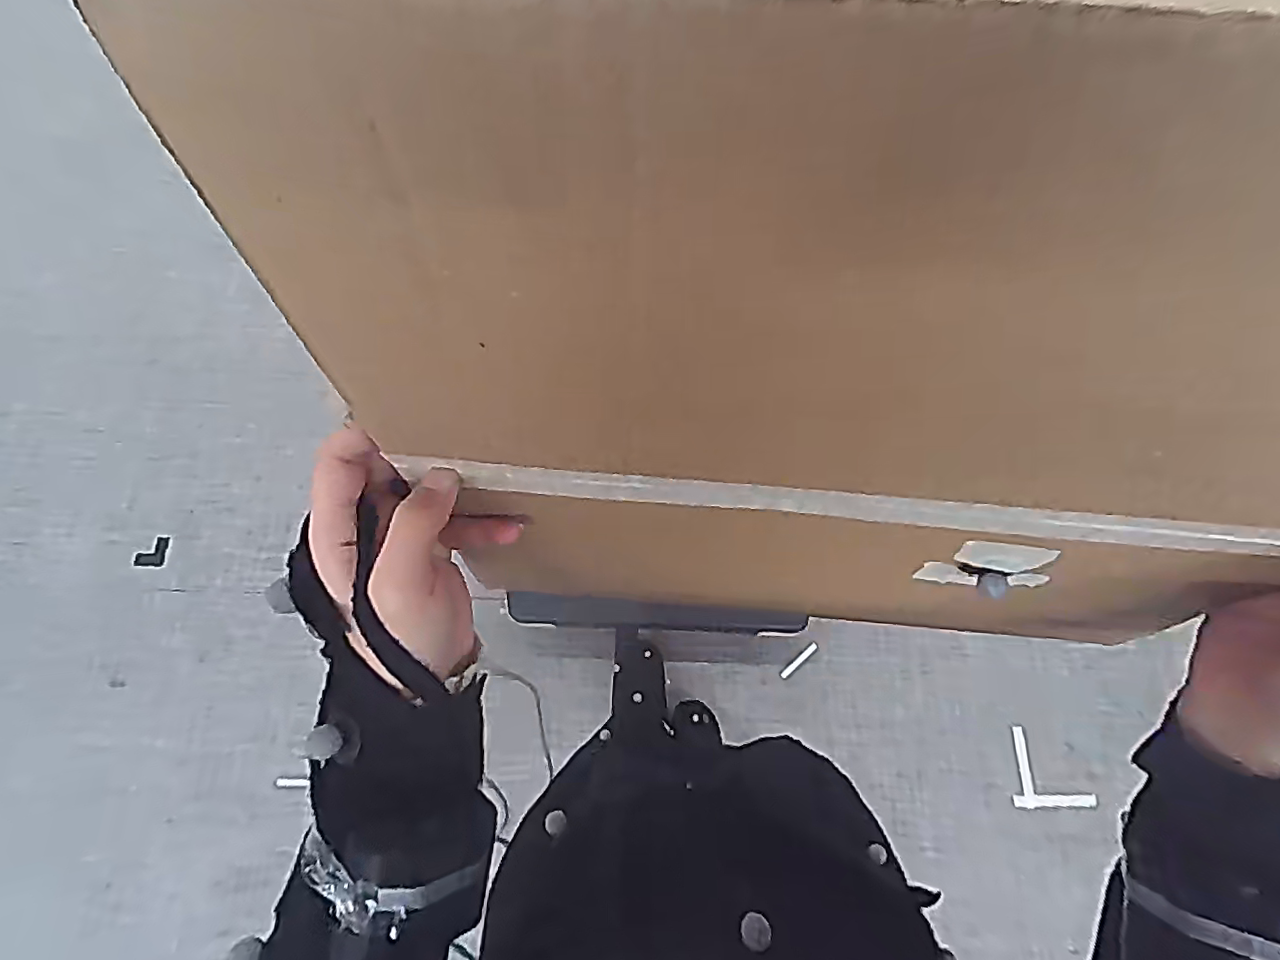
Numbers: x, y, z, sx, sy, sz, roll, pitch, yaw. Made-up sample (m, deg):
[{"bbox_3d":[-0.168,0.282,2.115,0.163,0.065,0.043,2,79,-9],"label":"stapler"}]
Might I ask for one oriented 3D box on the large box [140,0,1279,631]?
[{"bbox_3d":[0.101,-0.121,0.304,0.408,0.320,0.320,4,60,2],"label":"large box"}]
